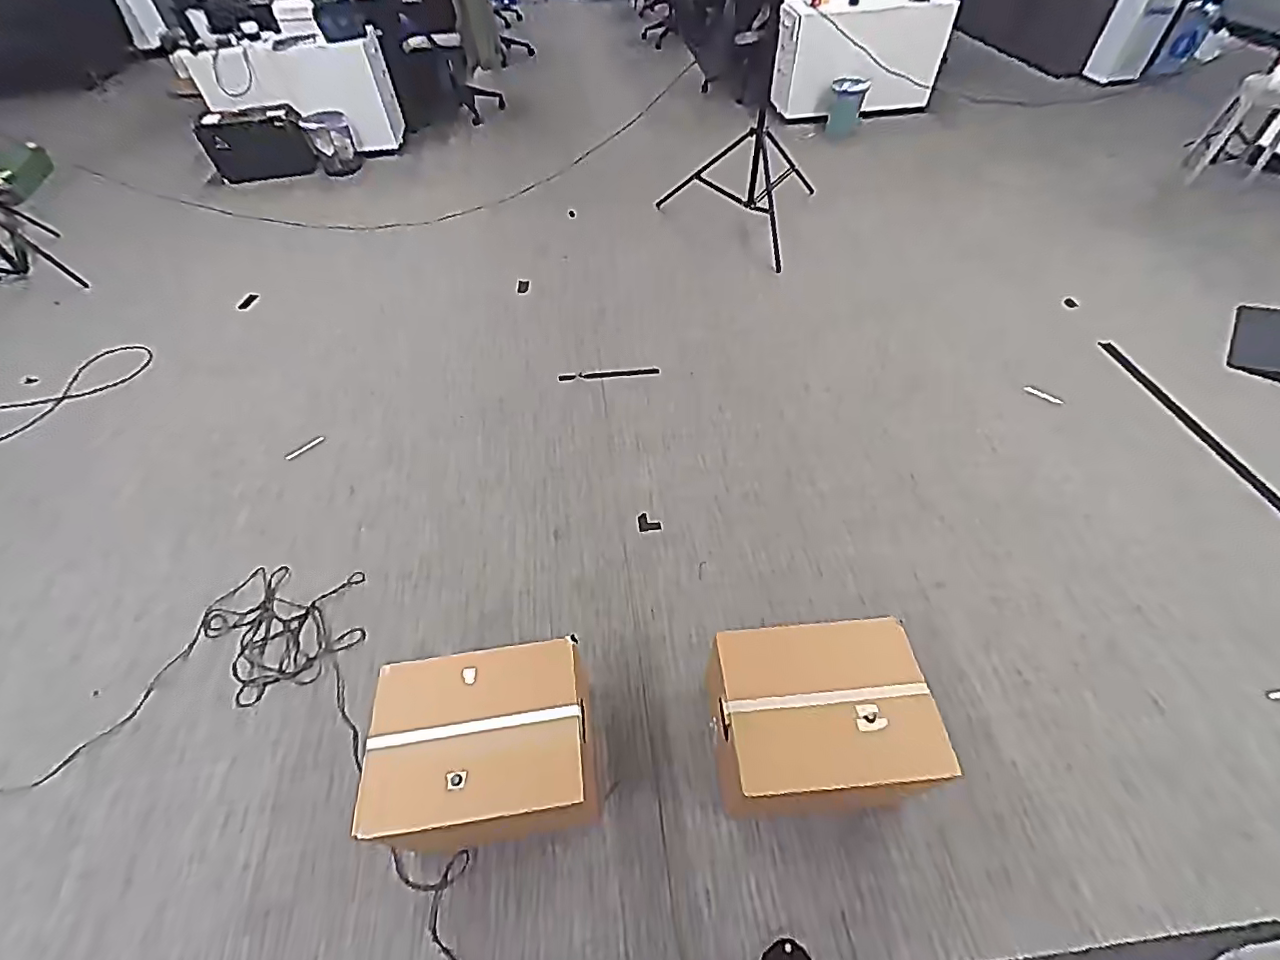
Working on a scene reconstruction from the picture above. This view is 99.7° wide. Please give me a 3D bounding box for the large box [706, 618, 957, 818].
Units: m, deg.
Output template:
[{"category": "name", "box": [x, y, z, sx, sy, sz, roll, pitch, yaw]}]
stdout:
[{"category": "large box", "box": [0.378, 0.528, 1.194, 0.408, 0.320, 0.320, -4, 51, -2]}]
